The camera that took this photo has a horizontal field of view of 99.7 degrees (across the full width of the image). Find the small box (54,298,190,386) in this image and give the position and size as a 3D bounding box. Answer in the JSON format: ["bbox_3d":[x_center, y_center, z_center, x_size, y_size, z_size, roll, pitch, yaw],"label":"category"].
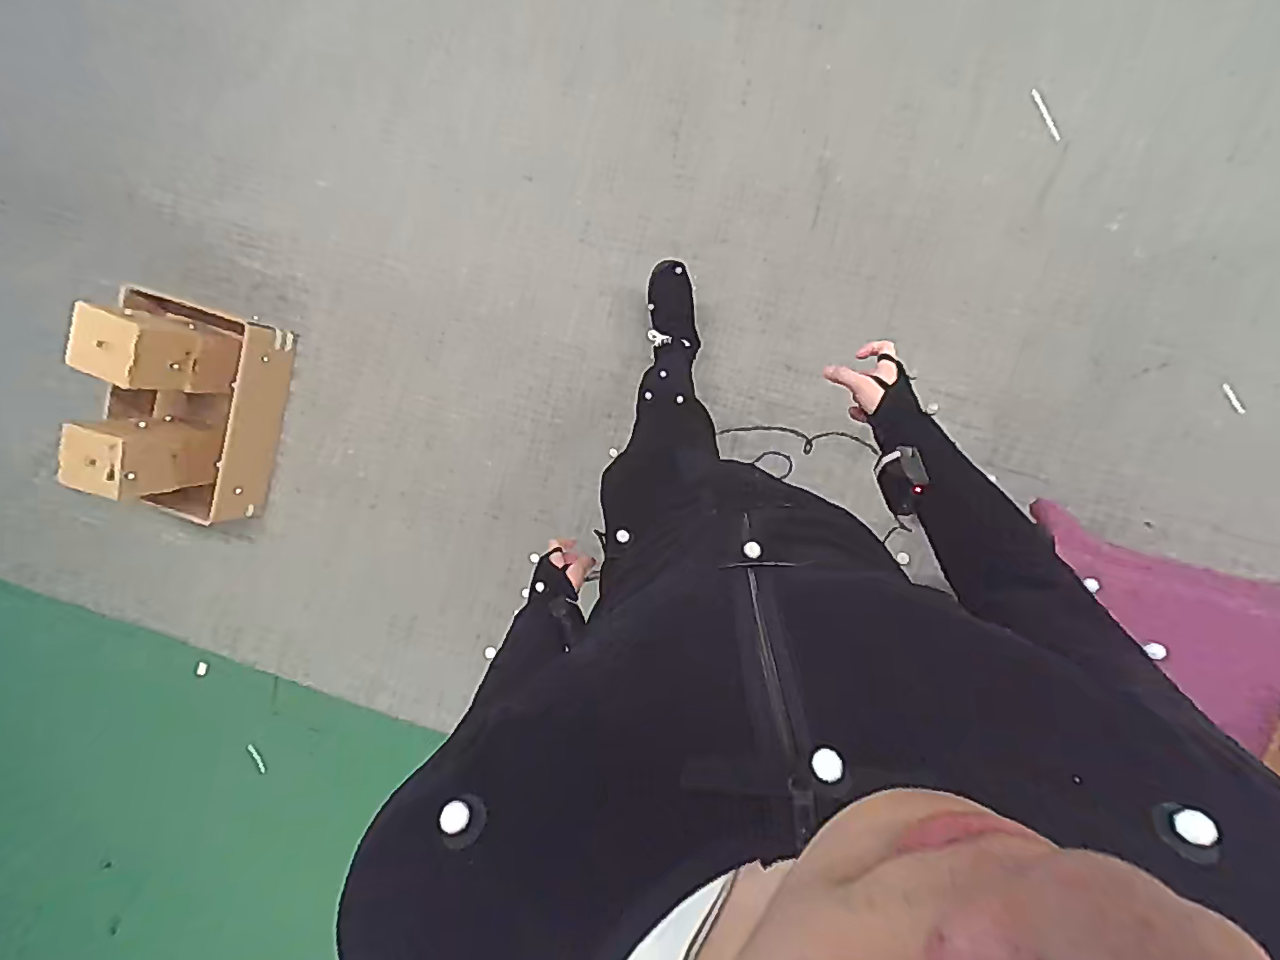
[{"bbox_3d":[-1.332,-0.346,1.398,0.179,0.176,0.168,22,99,1],"label":"small box"}]

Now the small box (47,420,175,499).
[{"bbox_3d":[-1.410,-0.061,1.447,0.179,0.176,0.168,16,100,4],"label":"small box"}]
